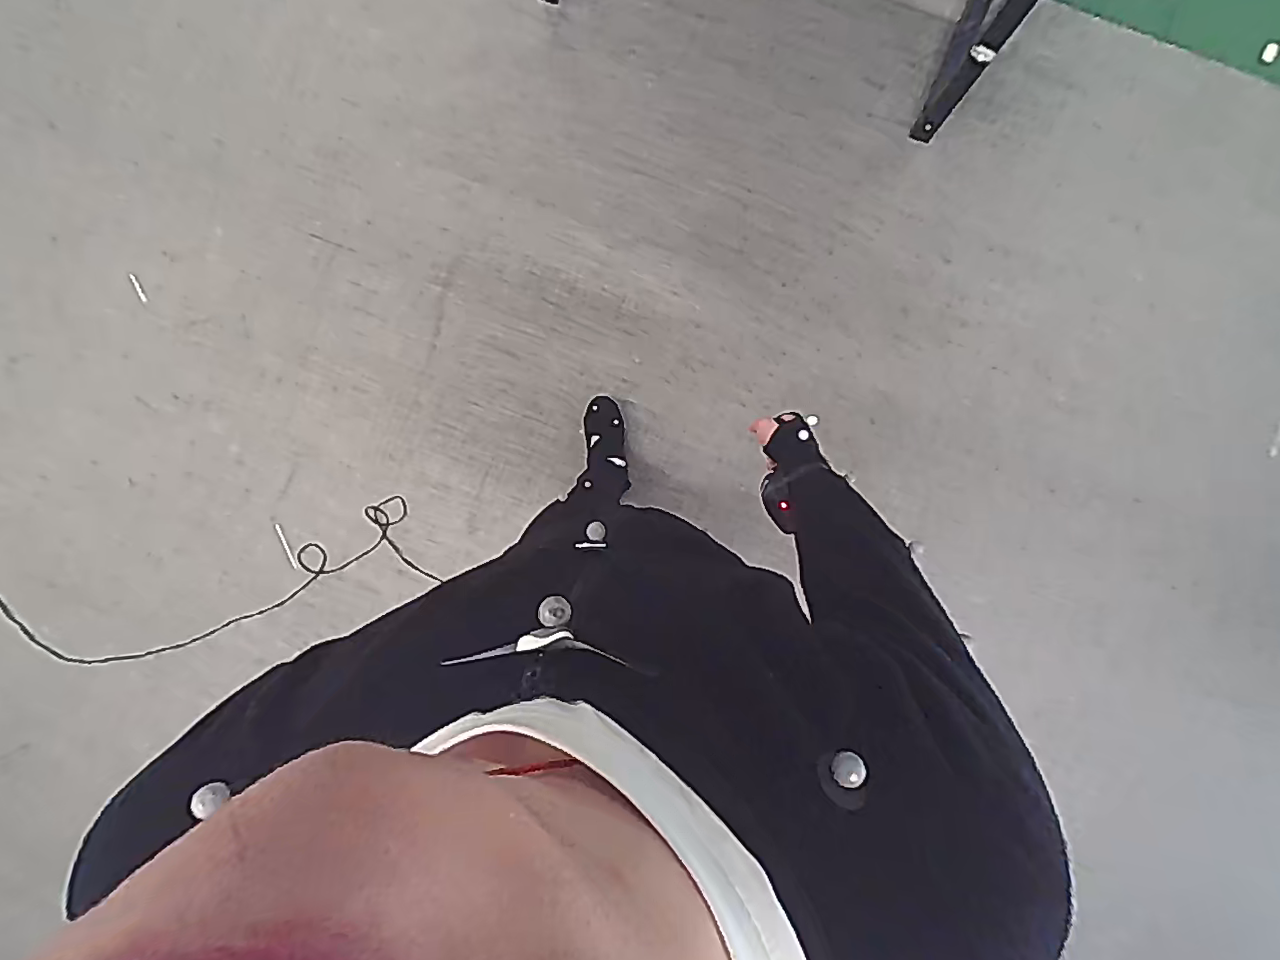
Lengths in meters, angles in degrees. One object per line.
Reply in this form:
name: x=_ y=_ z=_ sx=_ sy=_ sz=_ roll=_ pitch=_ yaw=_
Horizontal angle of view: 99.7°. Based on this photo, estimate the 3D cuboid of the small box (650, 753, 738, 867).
small box: x=0.141 y=0.881 z=1.462 sx=0.179 sy=0.176 sz=0.168 roll=29 pitch=92 yaw=2
